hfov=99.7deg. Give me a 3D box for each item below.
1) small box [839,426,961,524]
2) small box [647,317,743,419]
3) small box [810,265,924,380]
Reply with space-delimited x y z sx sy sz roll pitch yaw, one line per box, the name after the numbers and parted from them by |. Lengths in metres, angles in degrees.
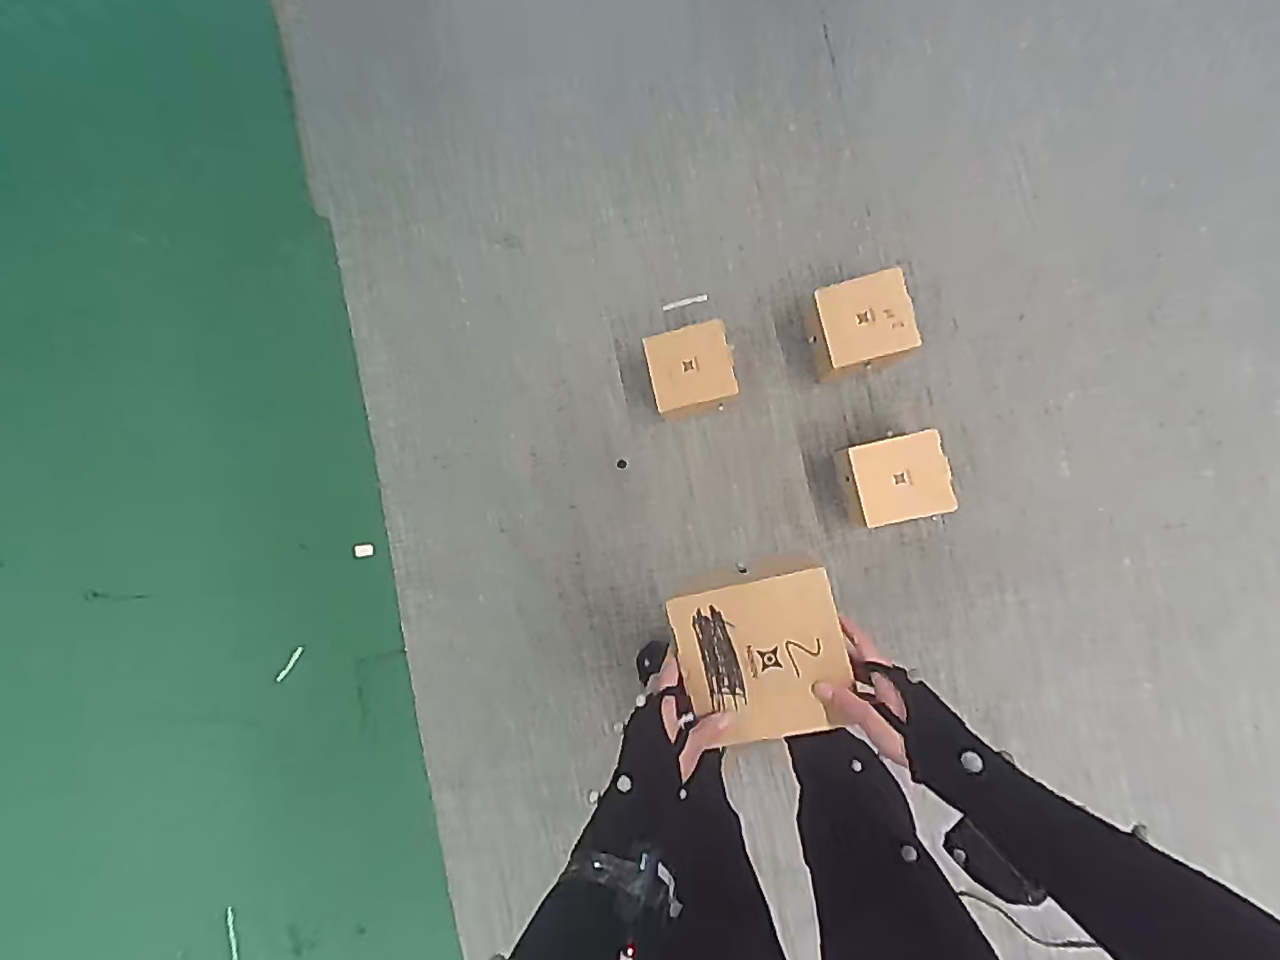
0.529 -0.004 1.132 0.179 0.176 0.168 -13 86 8 | small box
0.125 -0.242 1.205 0.179 0.176 0.168 -12 86 9 | small box
0.468 -0.323 1.148 0.179 0.176 0.168 -13 87 8 | small box
